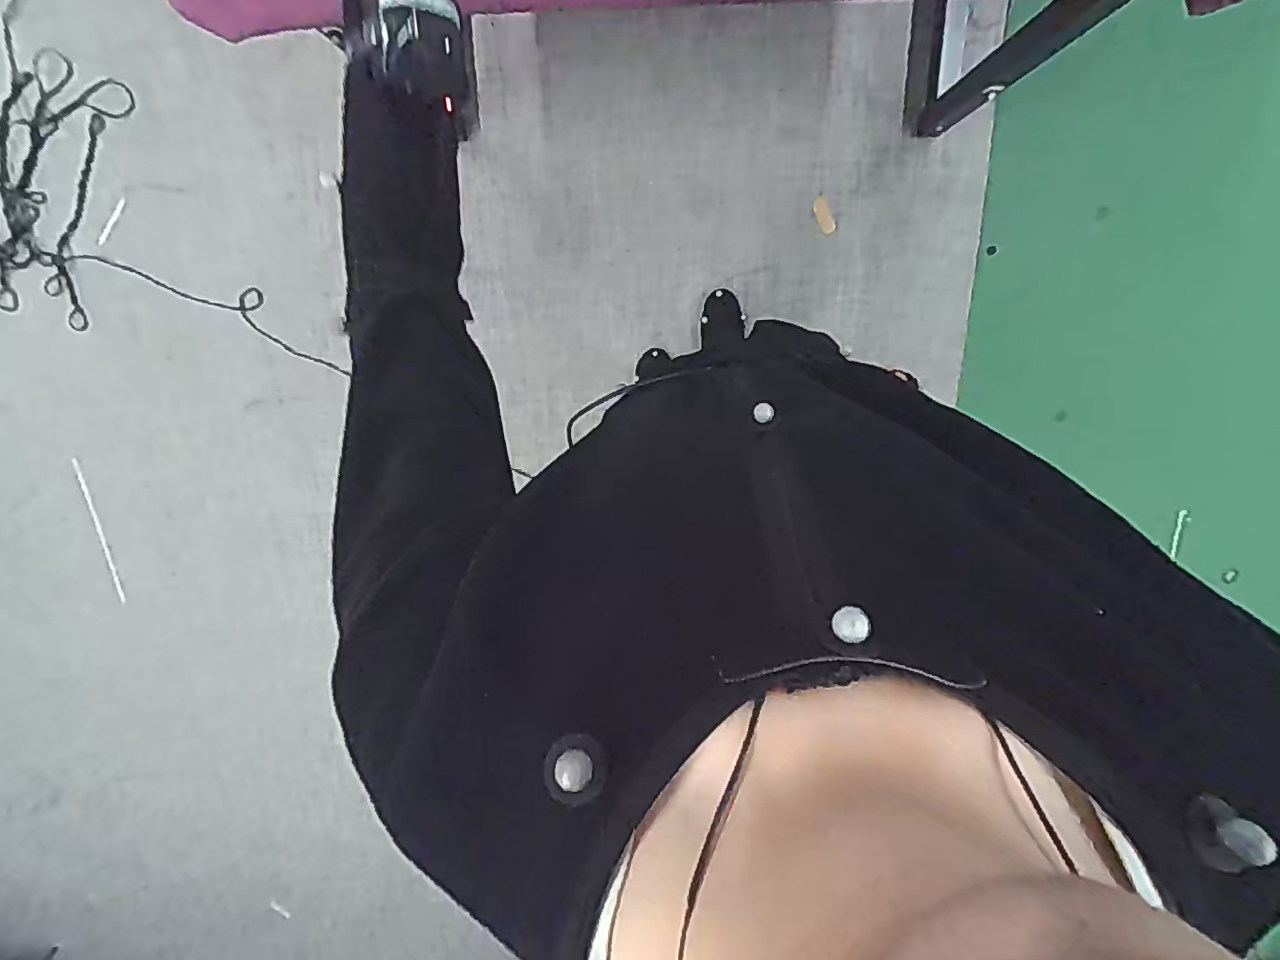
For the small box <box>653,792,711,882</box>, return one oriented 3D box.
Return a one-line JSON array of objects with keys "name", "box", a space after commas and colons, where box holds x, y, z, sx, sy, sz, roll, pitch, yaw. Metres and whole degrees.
[{"name": "small box", "box": [0.131, 1.140, 1.738, 0.168, 0.176, 0.179, 5, 105, 2]}]
